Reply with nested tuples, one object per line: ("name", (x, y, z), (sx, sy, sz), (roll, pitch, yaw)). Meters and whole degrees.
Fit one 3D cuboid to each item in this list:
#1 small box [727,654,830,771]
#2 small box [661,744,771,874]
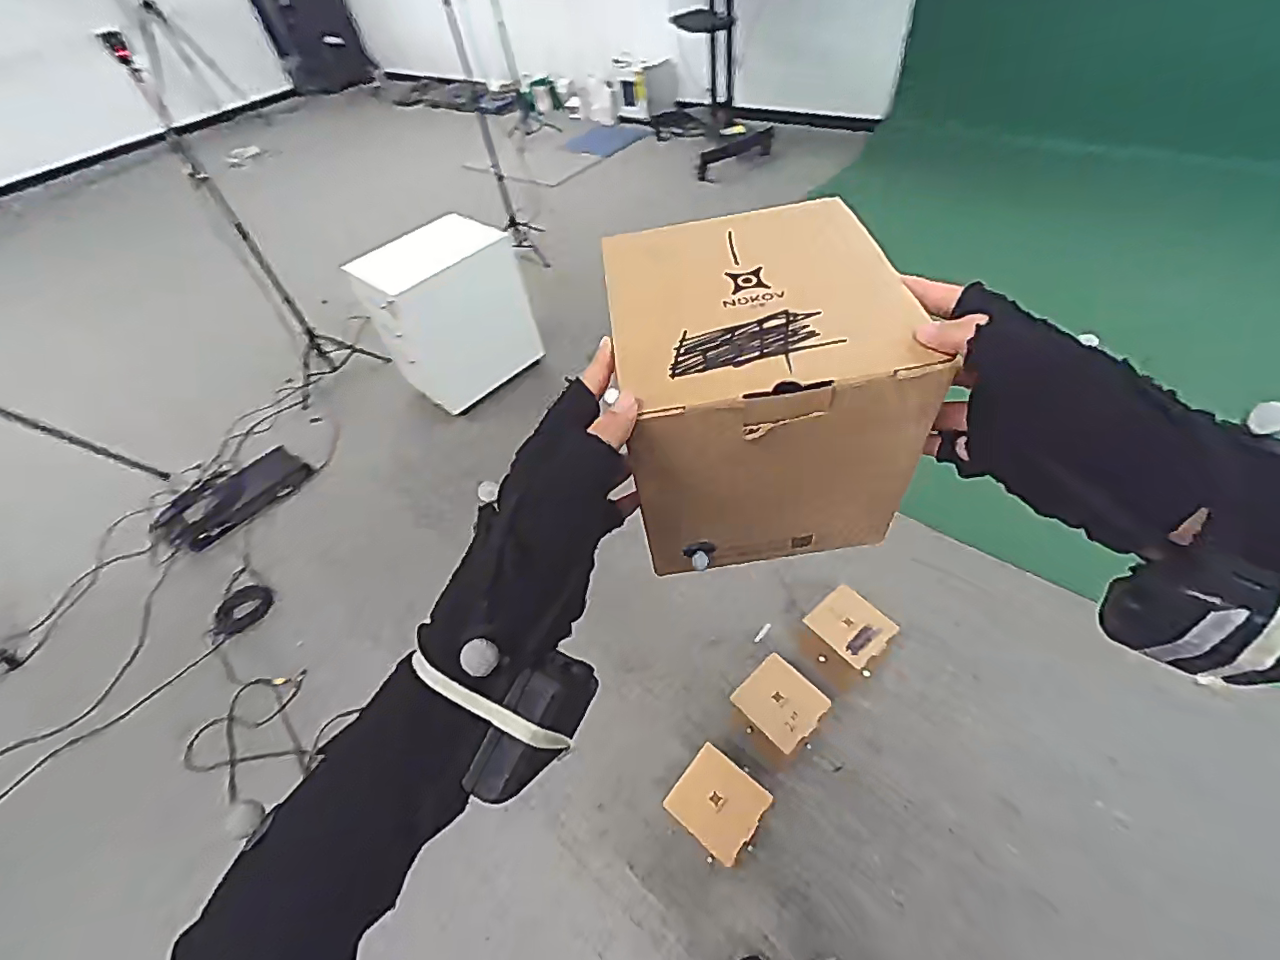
("small box", (0.328, 0.568, 1.312), (0.168, 0.176, 0.179), (-37, 54, -21))
("small box", (0.167, 0.731, 1.195), (0.179, 0.176, 0.168), (30, 60, 30))
